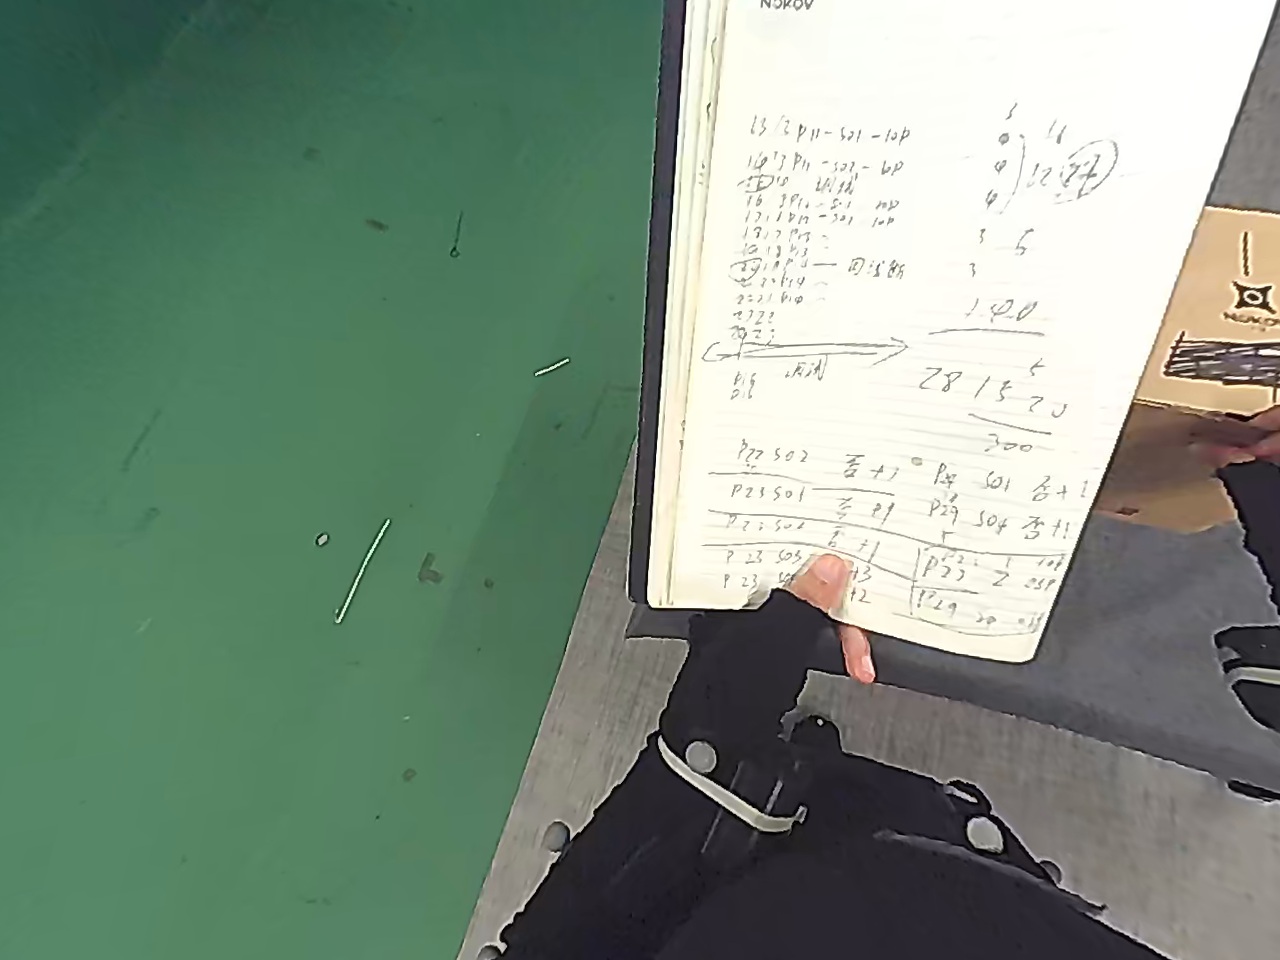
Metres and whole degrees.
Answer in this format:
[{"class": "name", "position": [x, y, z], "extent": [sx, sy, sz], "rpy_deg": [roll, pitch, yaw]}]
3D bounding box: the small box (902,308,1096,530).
[{"class": "small box", "position": [0.416, -0.063, 0.616], "extent": [0.168, 0.176, 0.179], "rpy_deg": [13, 71, 14]}]

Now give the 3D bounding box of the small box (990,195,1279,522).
[{"class": "small box", "position": [0.404, -0.083, 0.425], "extent": [0.168, 0.176, 0.179], "rpy_deg": [13, 68, 10]}]
